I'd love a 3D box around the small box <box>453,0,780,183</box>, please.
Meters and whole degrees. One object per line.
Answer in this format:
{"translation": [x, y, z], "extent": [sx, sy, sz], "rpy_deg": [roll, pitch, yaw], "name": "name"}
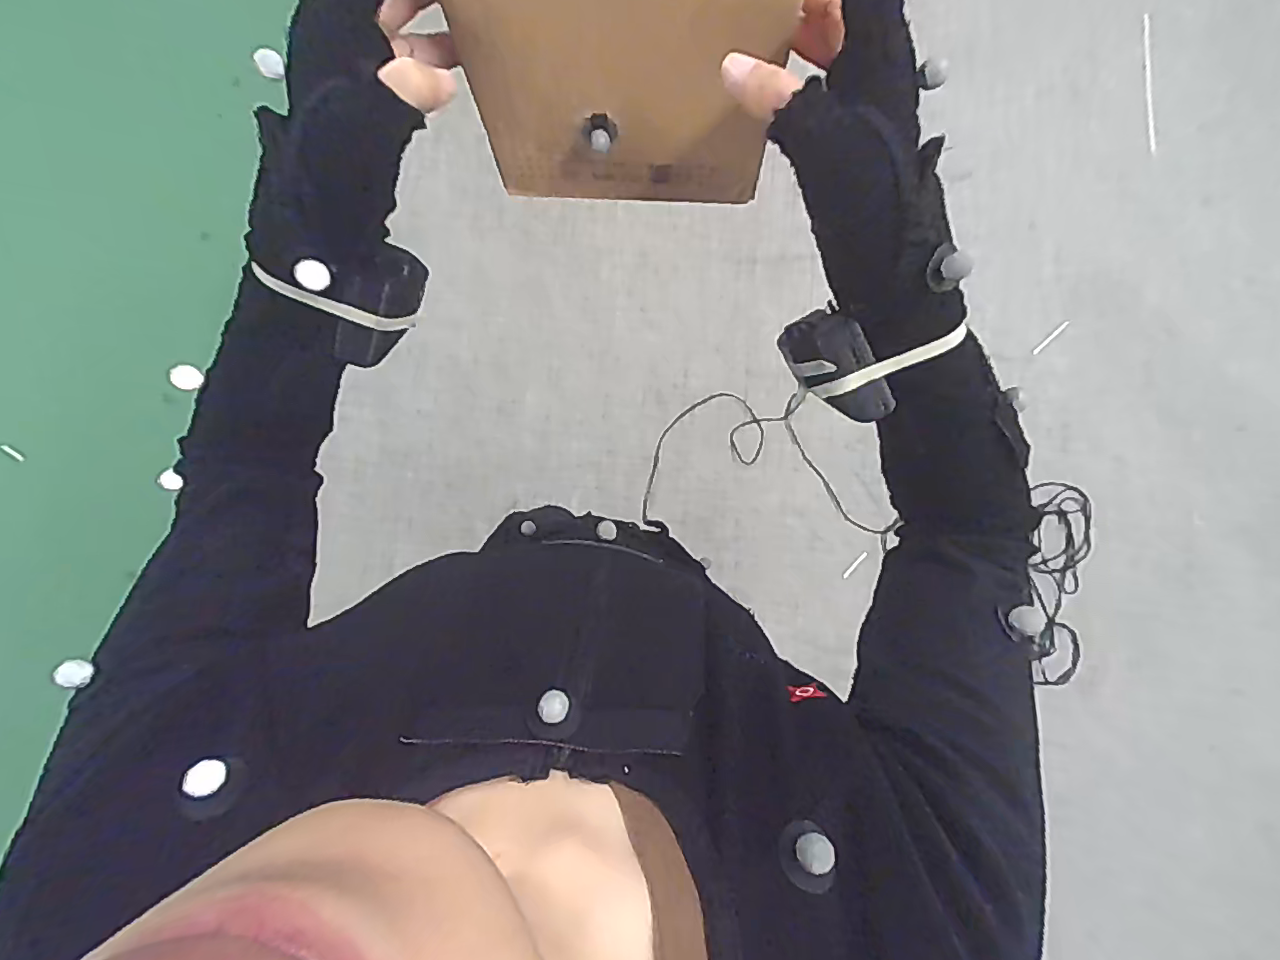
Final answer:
{"translation": [-0.010, -0.303, 0.298], "extent": [0.168, 0.176, 0.179], "rpy_deg": [3, 78, 2], "name": "small box"}
